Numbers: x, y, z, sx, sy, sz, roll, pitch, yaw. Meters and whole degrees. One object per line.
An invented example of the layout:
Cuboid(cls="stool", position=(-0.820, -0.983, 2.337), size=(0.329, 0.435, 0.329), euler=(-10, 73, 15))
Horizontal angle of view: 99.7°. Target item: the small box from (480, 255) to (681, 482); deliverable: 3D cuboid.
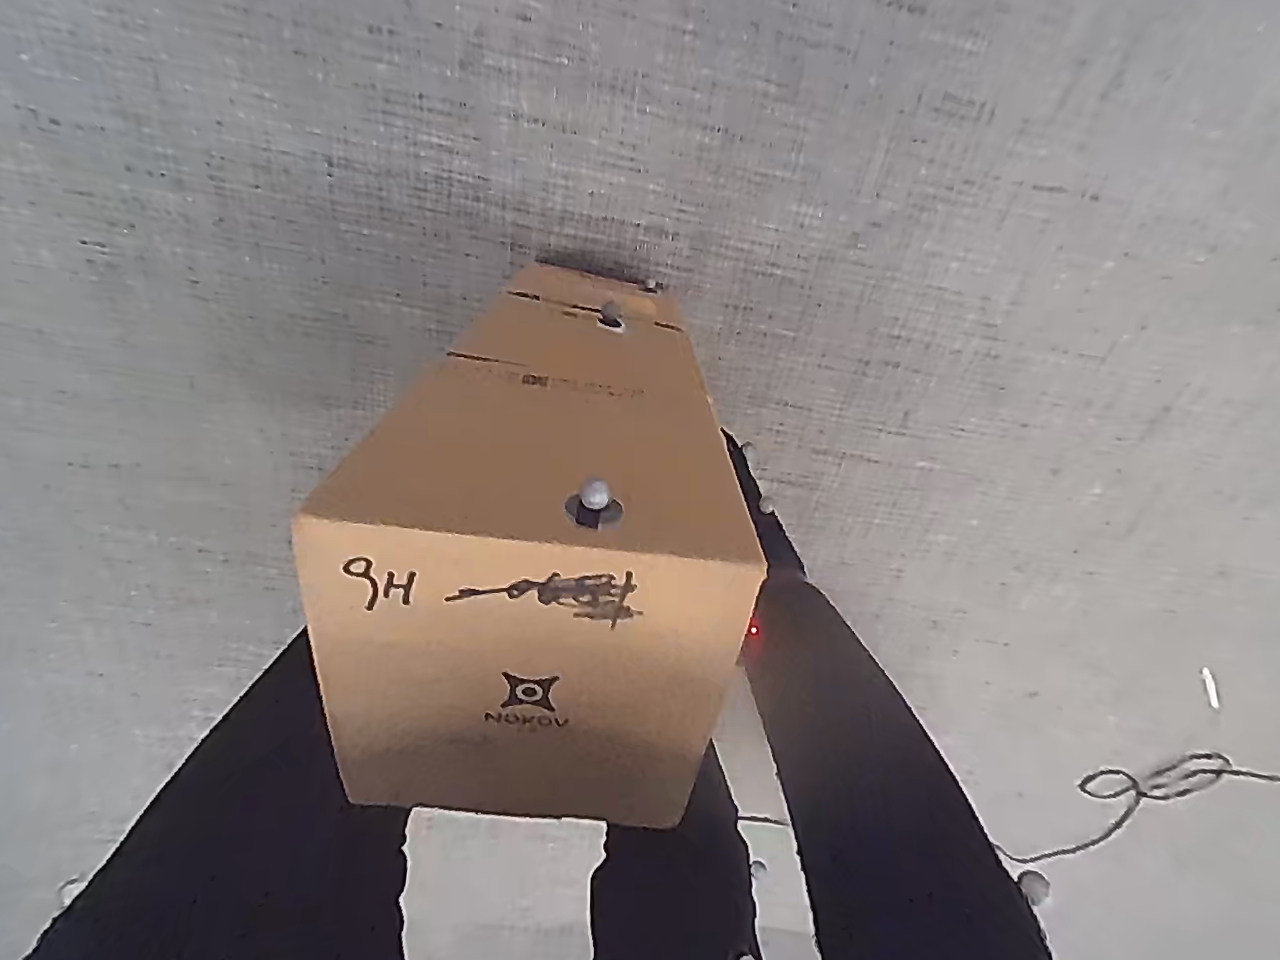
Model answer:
Cuboid(cls="small box", position=(-0.062, -0.124, 0.568), size=(0.168, 0.176, 0.179), euler=(9, 120, -6))
